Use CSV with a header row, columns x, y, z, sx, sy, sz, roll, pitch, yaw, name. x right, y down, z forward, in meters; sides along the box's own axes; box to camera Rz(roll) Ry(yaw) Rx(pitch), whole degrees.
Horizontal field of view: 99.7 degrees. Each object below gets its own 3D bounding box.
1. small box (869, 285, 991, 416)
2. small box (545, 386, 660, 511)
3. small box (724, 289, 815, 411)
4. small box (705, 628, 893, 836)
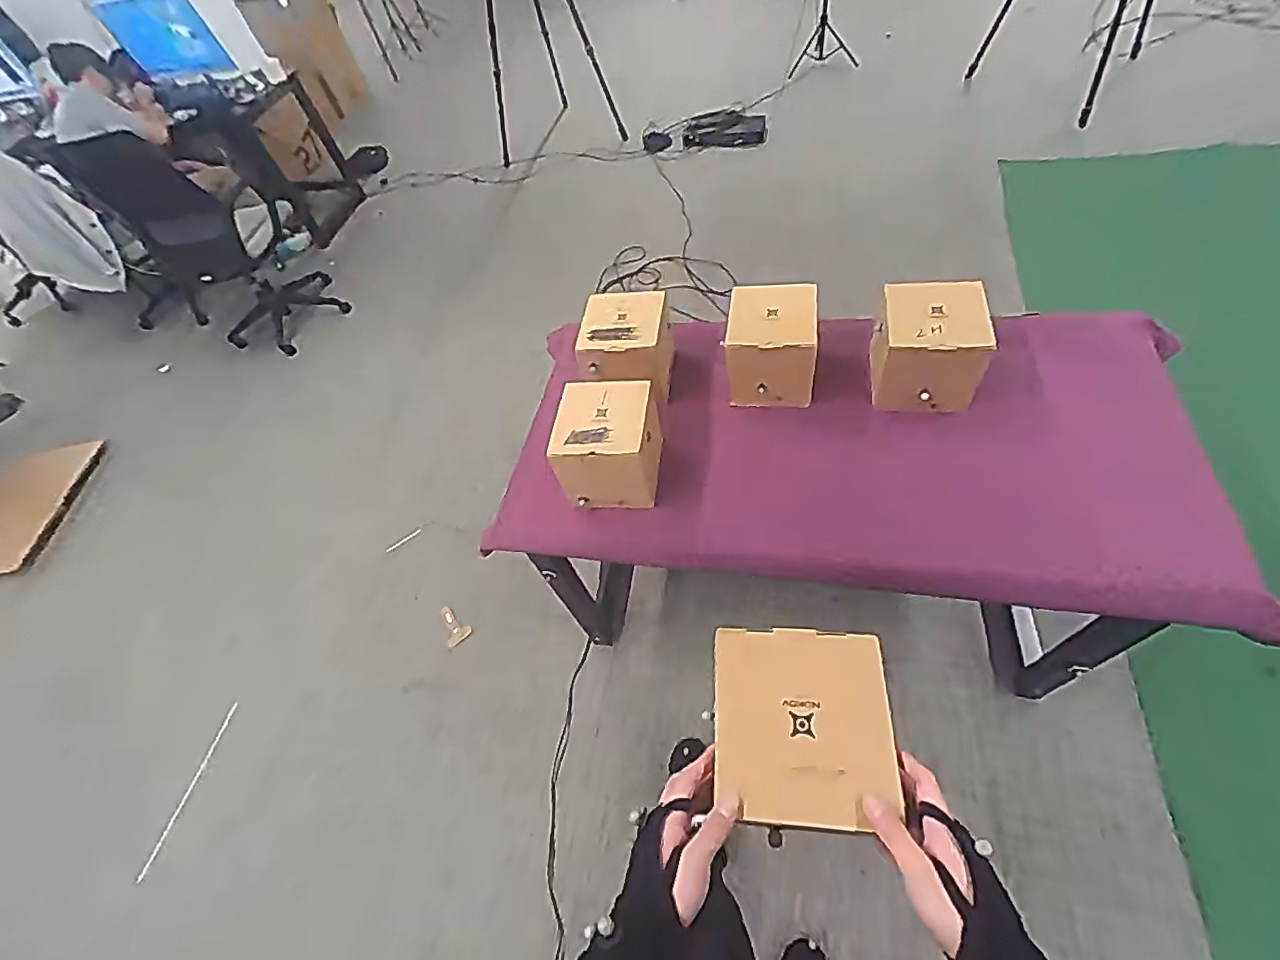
x,y,z,sx,sy,sz,roll,pitch,yaw,name
0.533,-0.243,1.019,0.168,0.176,0.179,3,57,16,small box
-0.059,-0.055,1.022,0.168,0.176,0.179,0,54,13,small box
0.263,-0.262,1.098,0.168,0.176,0.179,2,58,14,small box
0.158,0.276,0.590,0.168,0.176,0.179,0,58,10,small box
